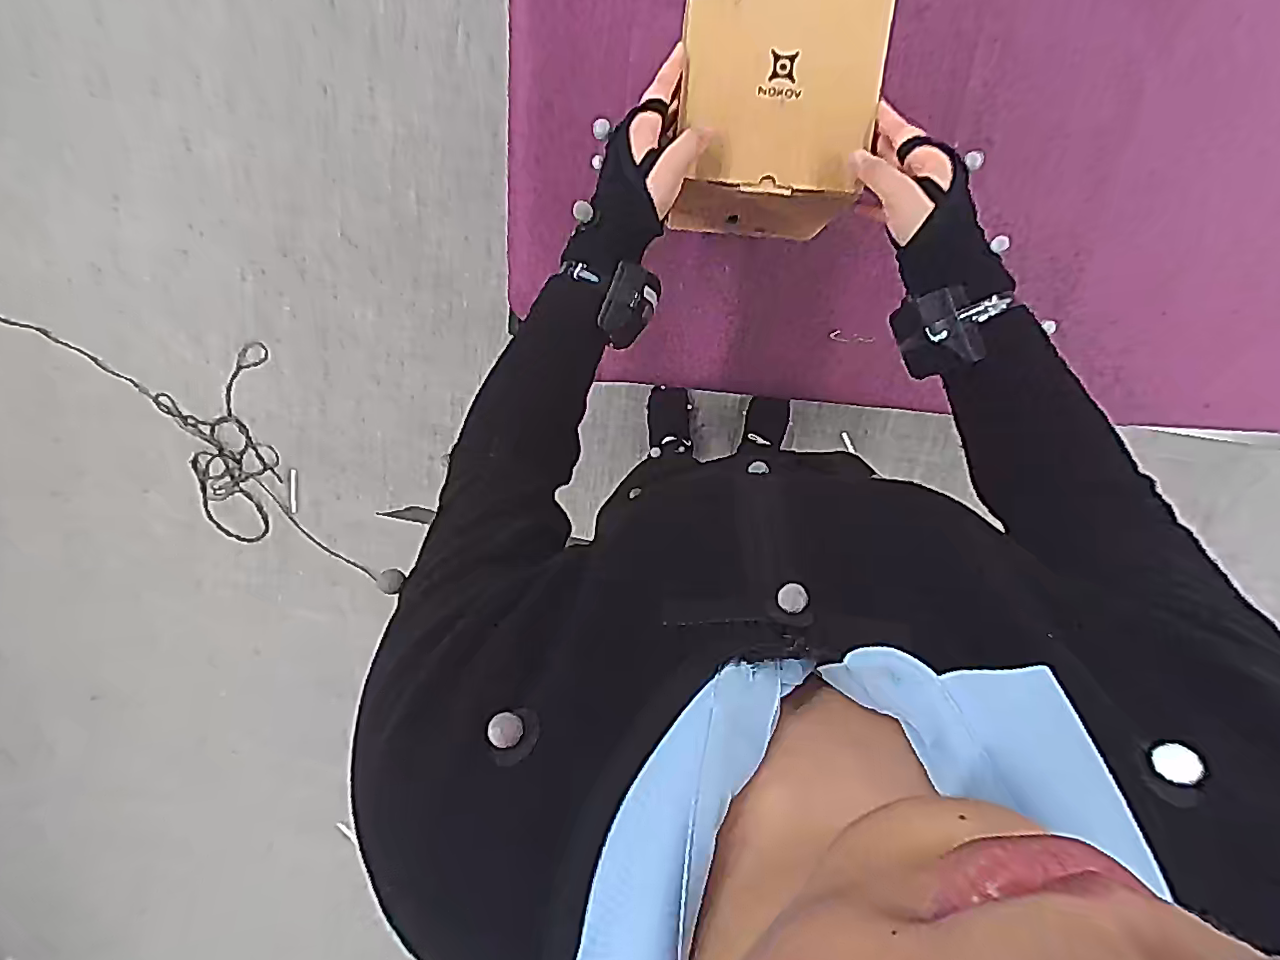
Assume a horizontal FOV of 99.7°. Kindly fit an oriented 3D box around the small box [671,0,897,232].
[{"bbox_3d":[0.119,-0.354,0.517,0.168,0.176,0.179,5,104,1],"label":"small box"}]
